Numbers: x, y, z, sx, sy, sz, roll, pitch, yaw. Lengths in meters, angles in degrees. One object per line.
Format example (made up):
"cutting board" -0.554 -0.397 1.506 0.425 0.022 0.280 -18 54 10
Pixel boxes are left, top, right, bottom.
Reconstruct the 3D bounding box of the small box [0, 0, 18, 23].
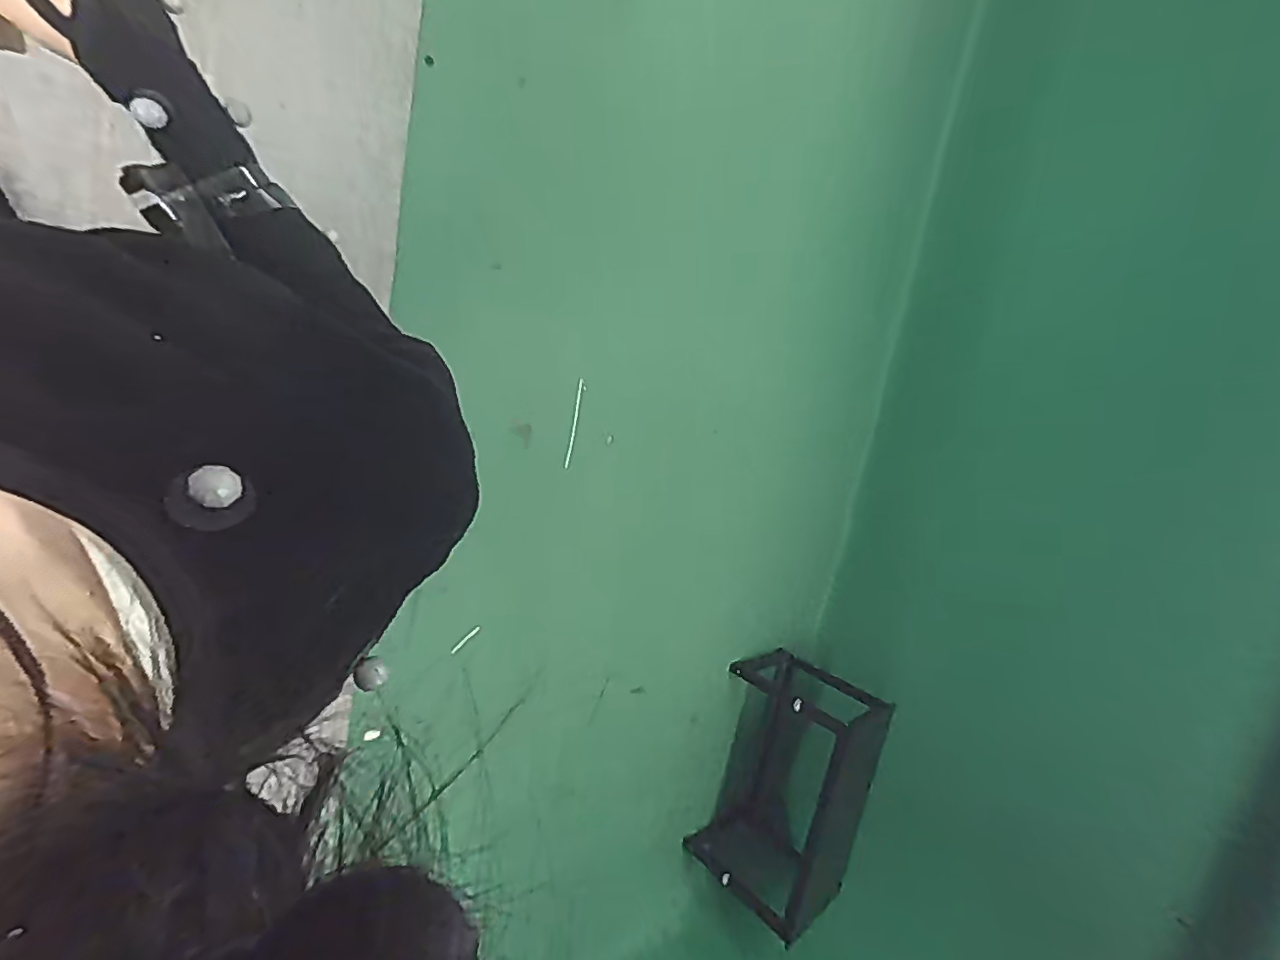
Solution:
"small box" -0.487 -0.380 0.289 0.179 0.176 0.168 -16 119 -39
